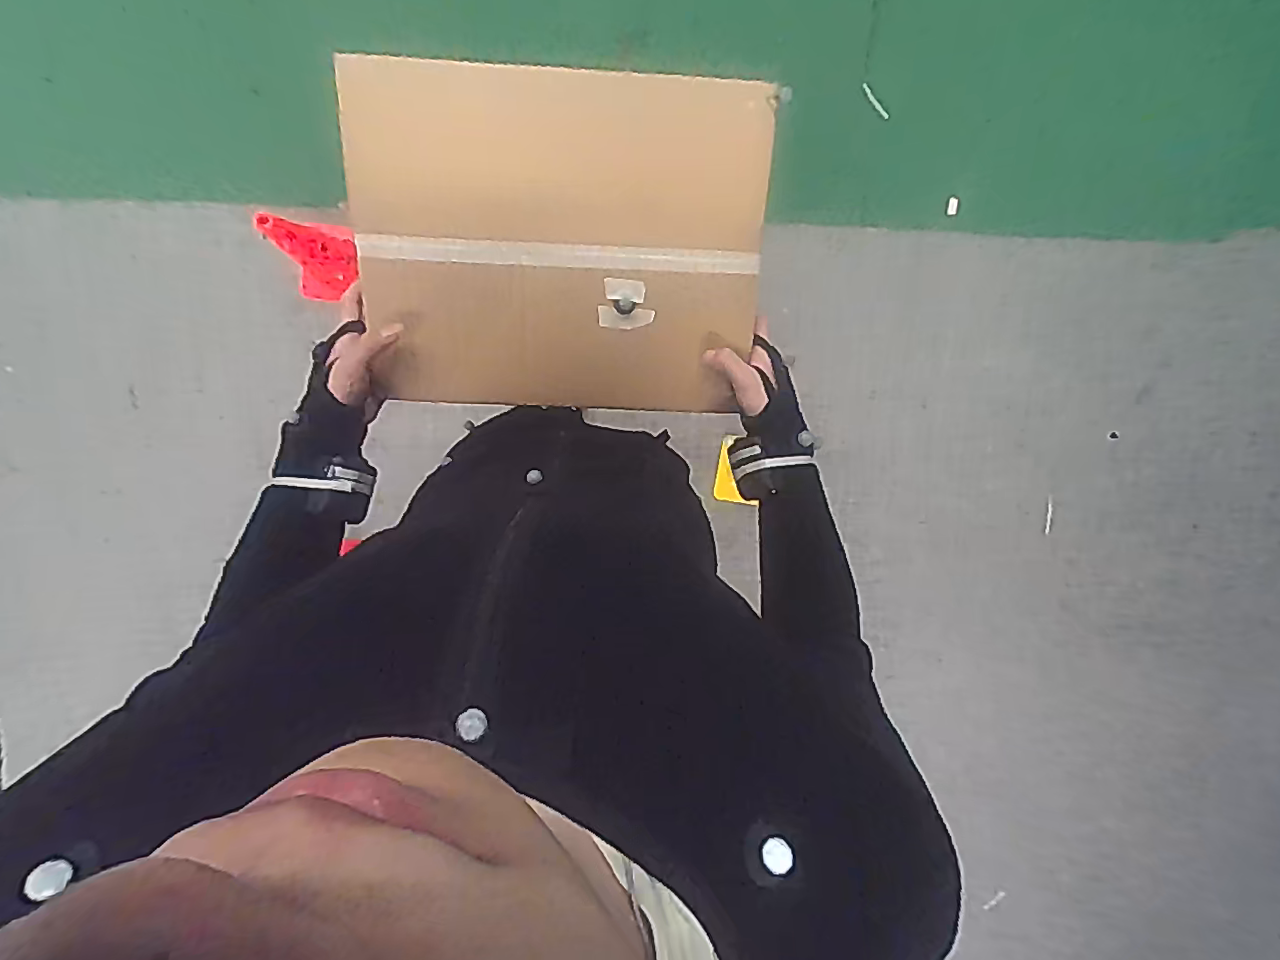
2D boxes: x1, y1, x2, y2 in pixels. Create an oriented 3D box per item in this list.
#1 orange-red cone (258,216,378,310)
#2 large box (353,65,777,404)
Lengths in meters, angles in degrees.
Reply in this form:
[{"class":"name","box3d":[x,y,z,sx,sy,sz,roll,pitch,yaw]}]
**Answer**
[{"class":"orange-red cone","box3d":[-0.801,-0.556,1.311,0.199,0.360,0.198,7,96,-4]},{"class":"large box","box3d":[-0.078,-0.282,0.693,0.408,0.320,0.320,1,110,-3]}]
